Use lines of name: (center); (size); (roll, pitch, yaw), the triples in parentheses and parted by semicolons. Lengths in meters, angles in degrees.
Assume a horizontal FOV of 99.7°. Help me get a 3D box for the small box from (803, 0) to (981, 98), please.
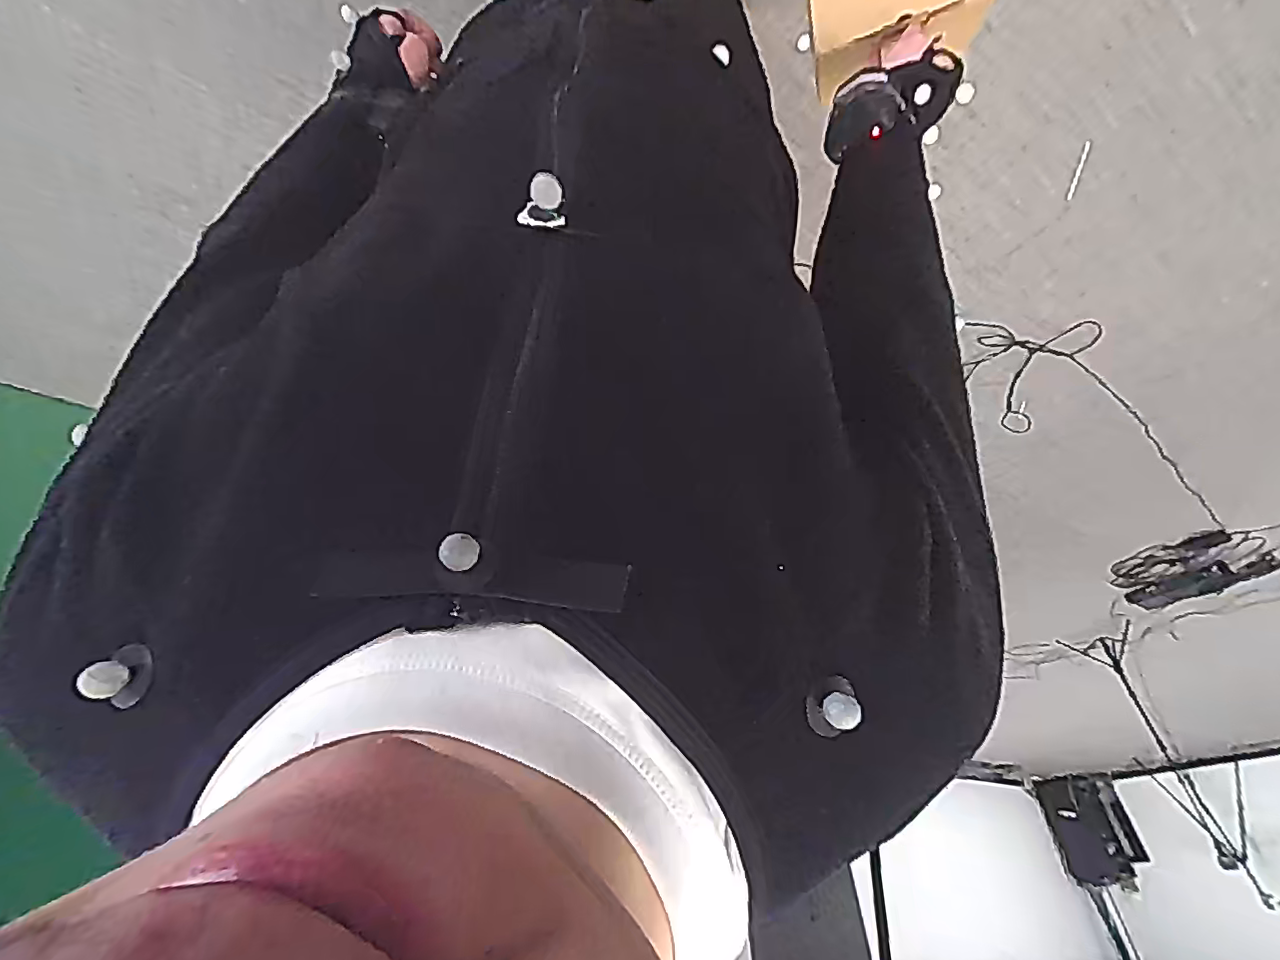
small box: (0.261, -0.546, 0.577); (0.168, 0.176, 0.179); (-8, 103, 20)
